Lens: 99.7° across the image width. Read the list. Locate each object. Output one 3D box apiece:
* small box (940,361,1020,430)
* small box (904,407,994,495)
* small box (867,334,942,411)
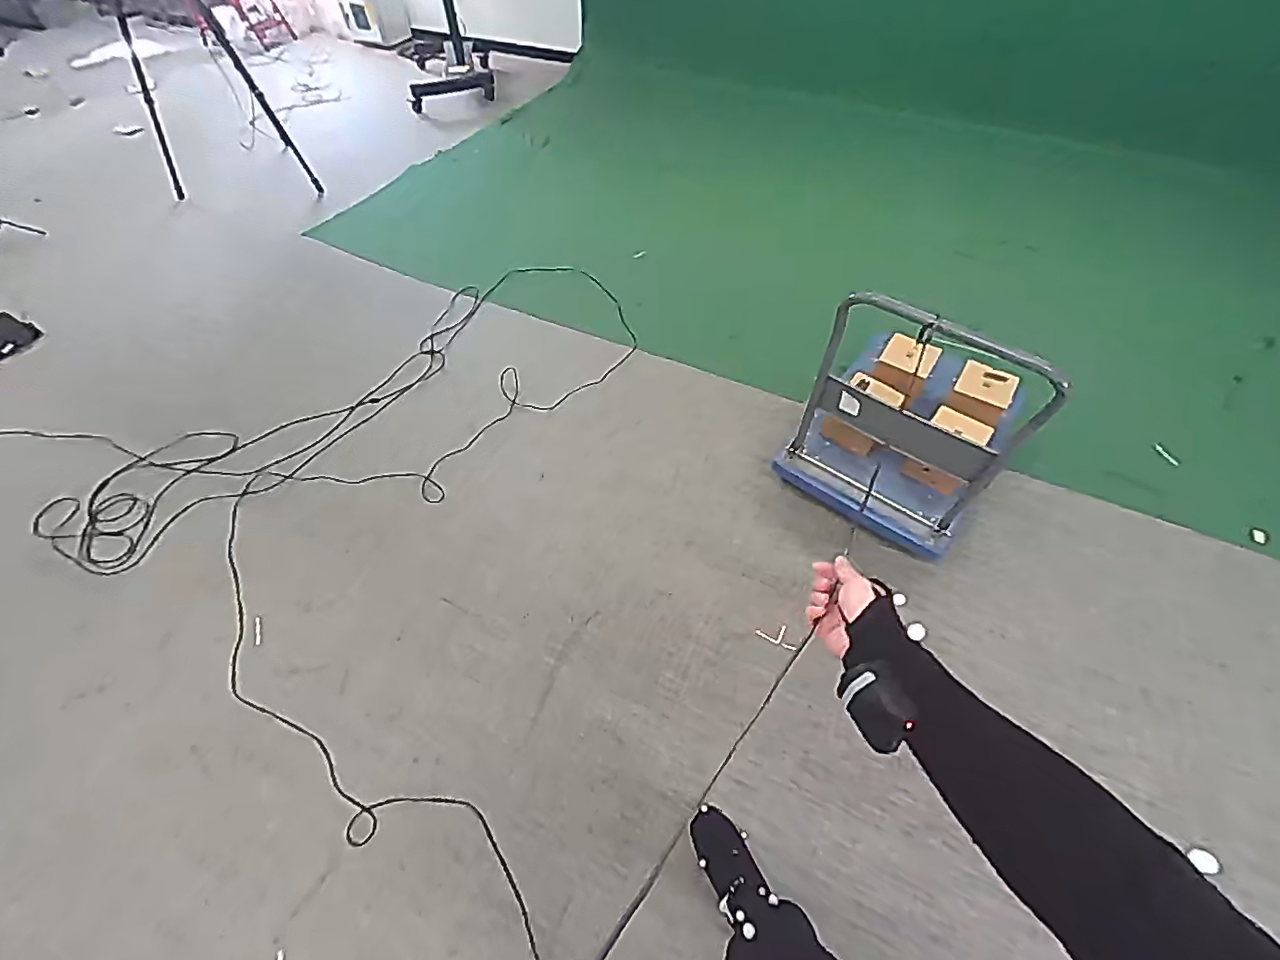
[{"bbox_3d":[1.132,-0.262,1.820,0.168,0.176,0.179,29,60,21],"label":"small box"},{"bbox_3d":[0.962,-0.090,1.698,0.168,0.176,0.179,33,61,23],"label":"small box"},{"bbox_3d":[0.925,-0.376,1.908,0.168,0.176,0.179,30,59,20],"label":"small box"}]
